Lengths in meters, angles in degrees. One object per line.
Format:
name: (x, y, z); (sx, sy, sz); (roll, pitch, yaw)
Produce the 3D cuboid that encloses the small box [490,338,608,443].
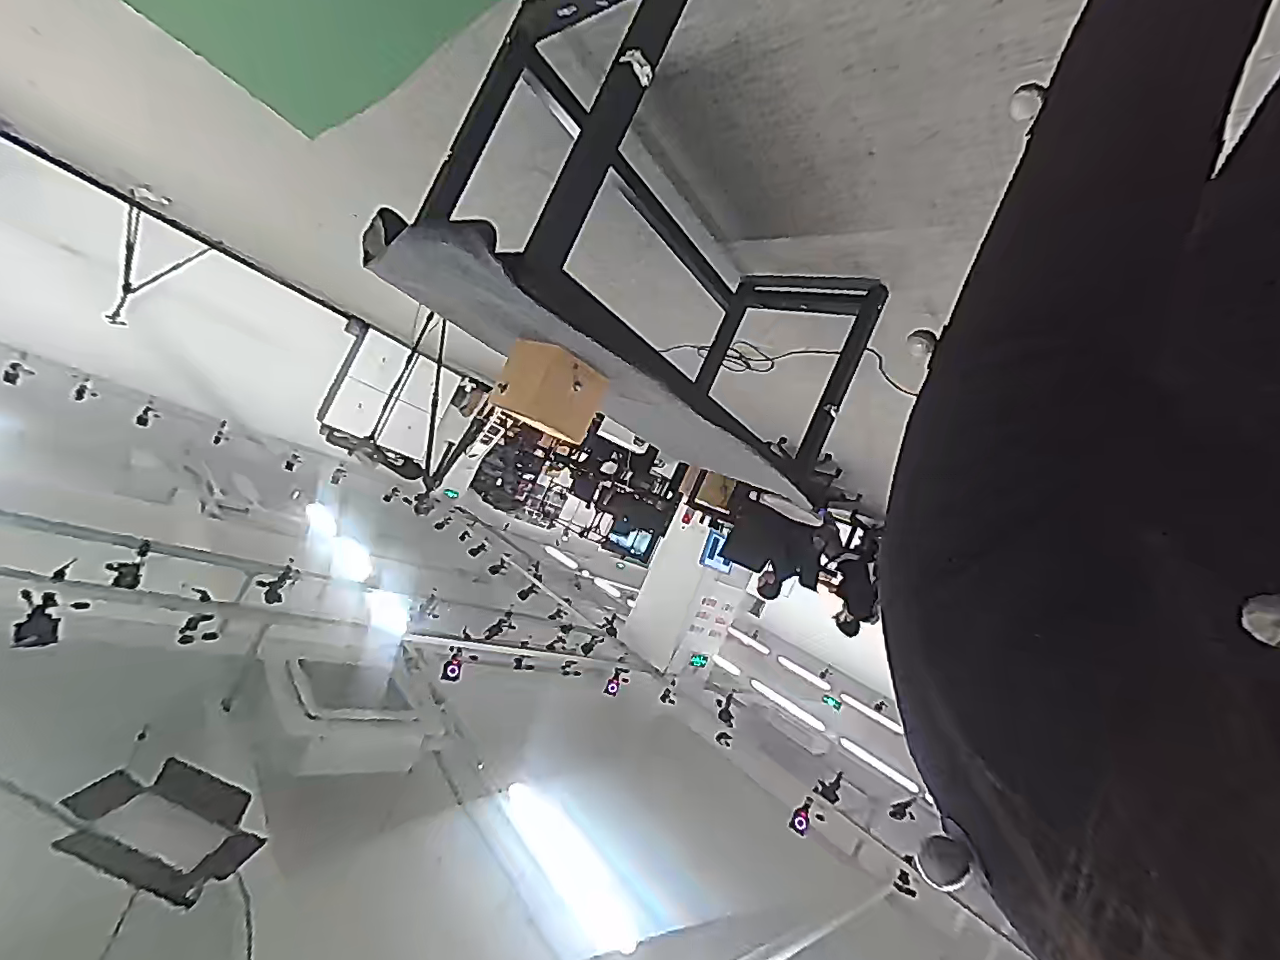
small box: (-0.204, -0.208, 1.235); (0.179, 0.176, 0.168); (22, 176, 44)
